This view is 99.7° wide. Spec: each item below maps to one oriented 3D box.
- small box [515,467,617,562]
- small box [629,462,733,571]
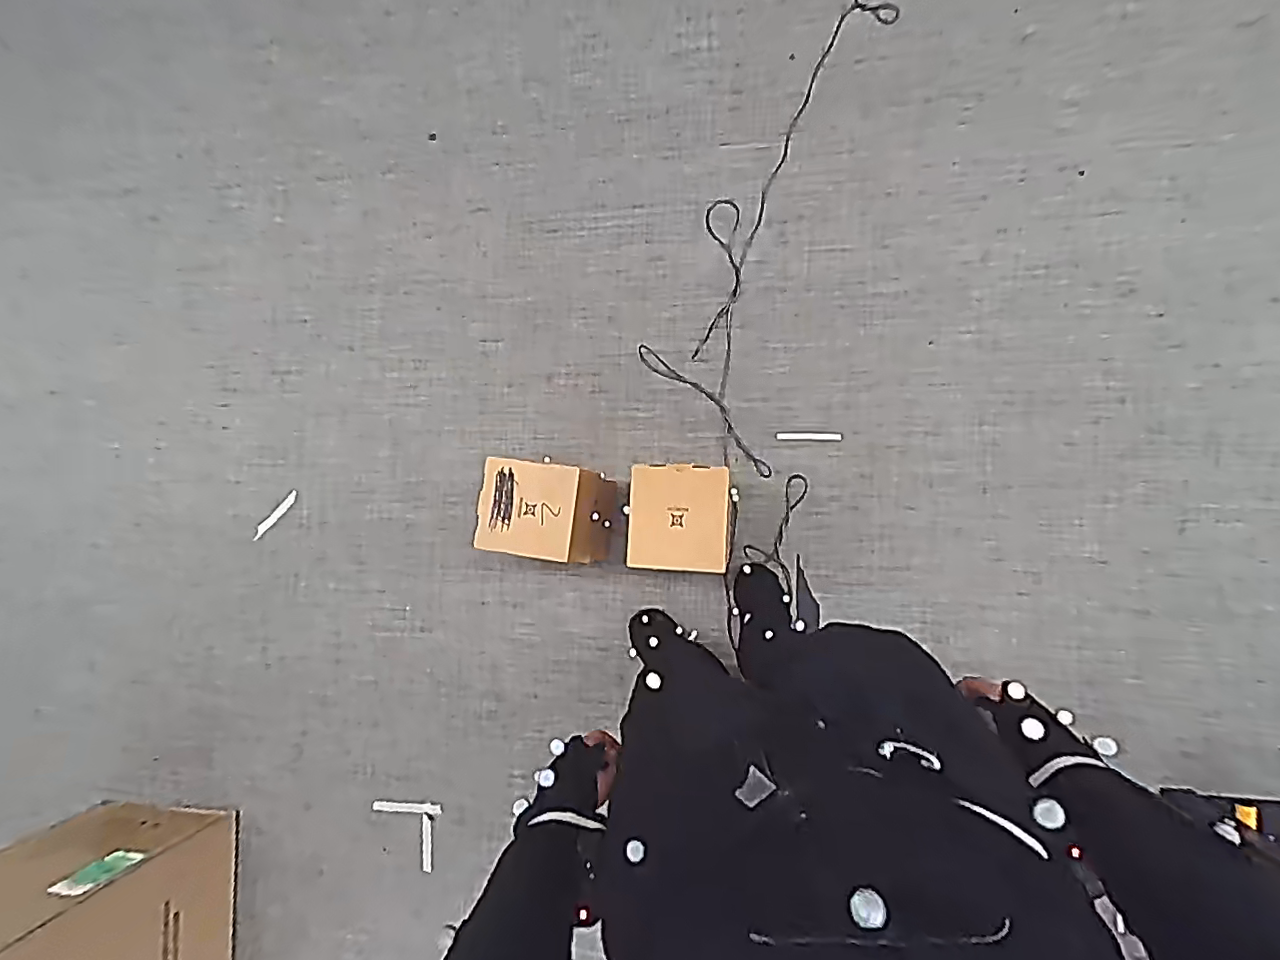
[{"bbox_3d":[-0.153,0.072,1.175,0.168,0.176,0.179,8,89,10],"label":"small box"},{"bbox_3d":[0.079,0.063,0.974,0.168,0.176,0.179,2,86,10],"label":"small box"}]
